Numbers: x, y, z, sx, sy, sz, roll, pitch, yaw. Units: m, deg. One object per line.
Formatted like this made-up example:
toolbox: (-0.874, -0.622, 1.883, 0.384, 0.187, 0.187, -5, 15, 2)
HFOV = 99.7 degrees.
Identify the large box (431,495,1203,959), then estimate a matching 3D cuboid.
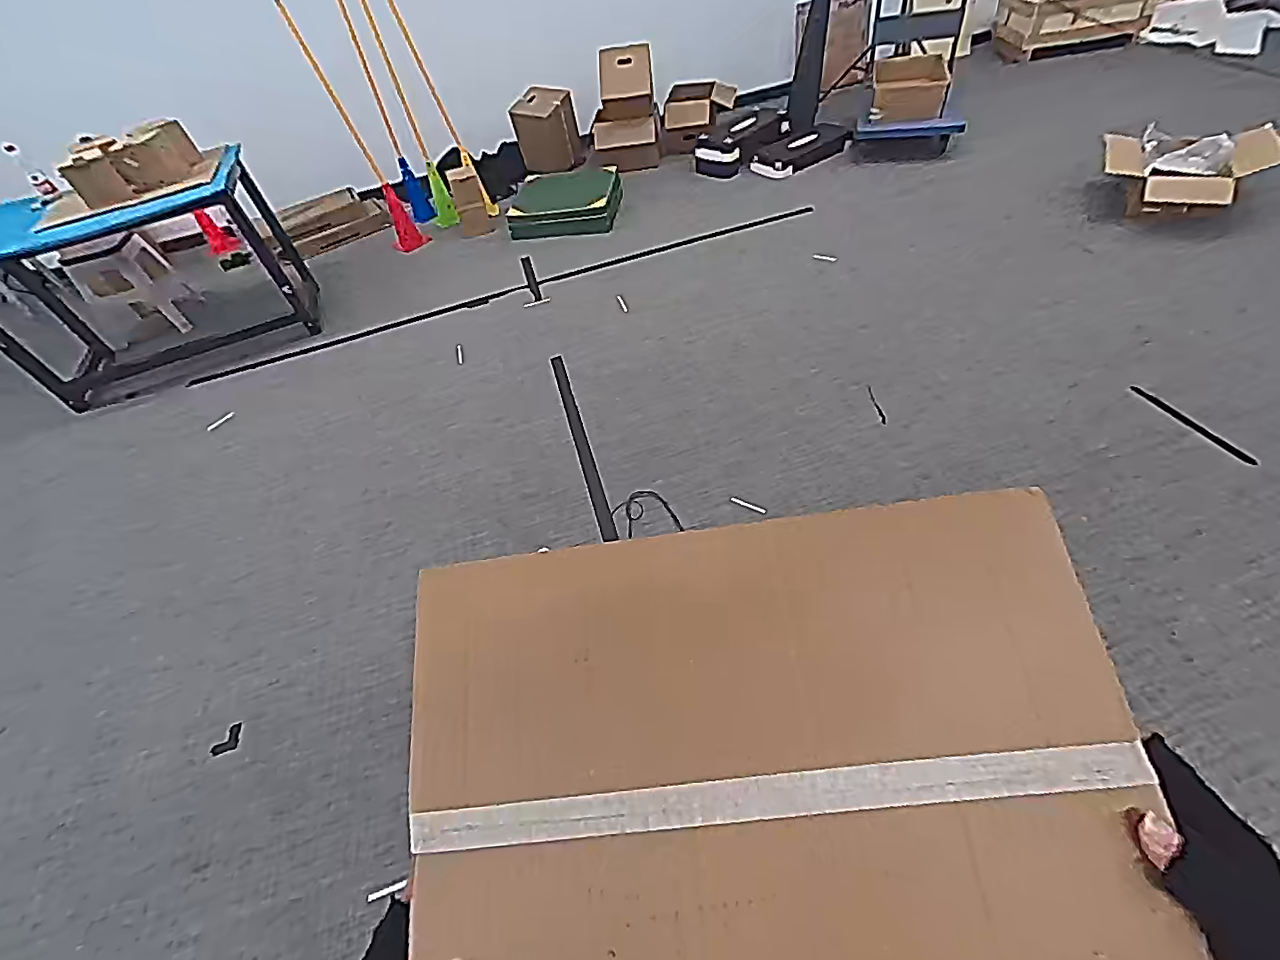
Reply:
large box: (0.088, 0.233, 0.450, 0.408, 0.320, 0.320, -9, 70, 5)
